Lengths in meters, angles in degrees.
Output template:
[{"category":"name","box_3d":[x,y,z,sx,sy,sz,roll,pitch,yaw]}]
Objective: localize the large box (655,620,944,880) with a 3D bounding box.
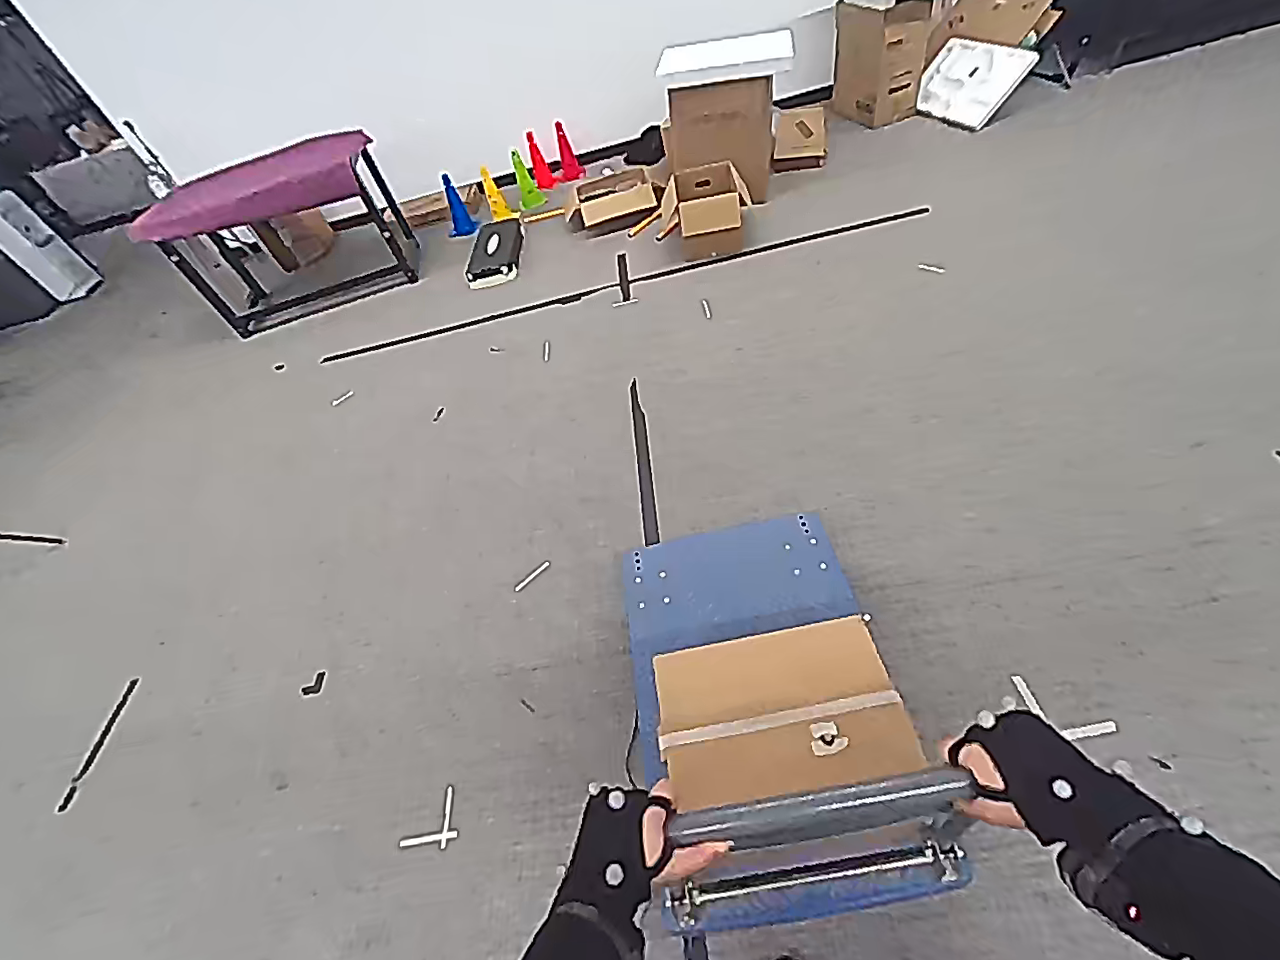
[{"category":"large box","box_3d":[0.265,0.510,1.012,0.408,0.320,0.320,-12,47,3]}]
